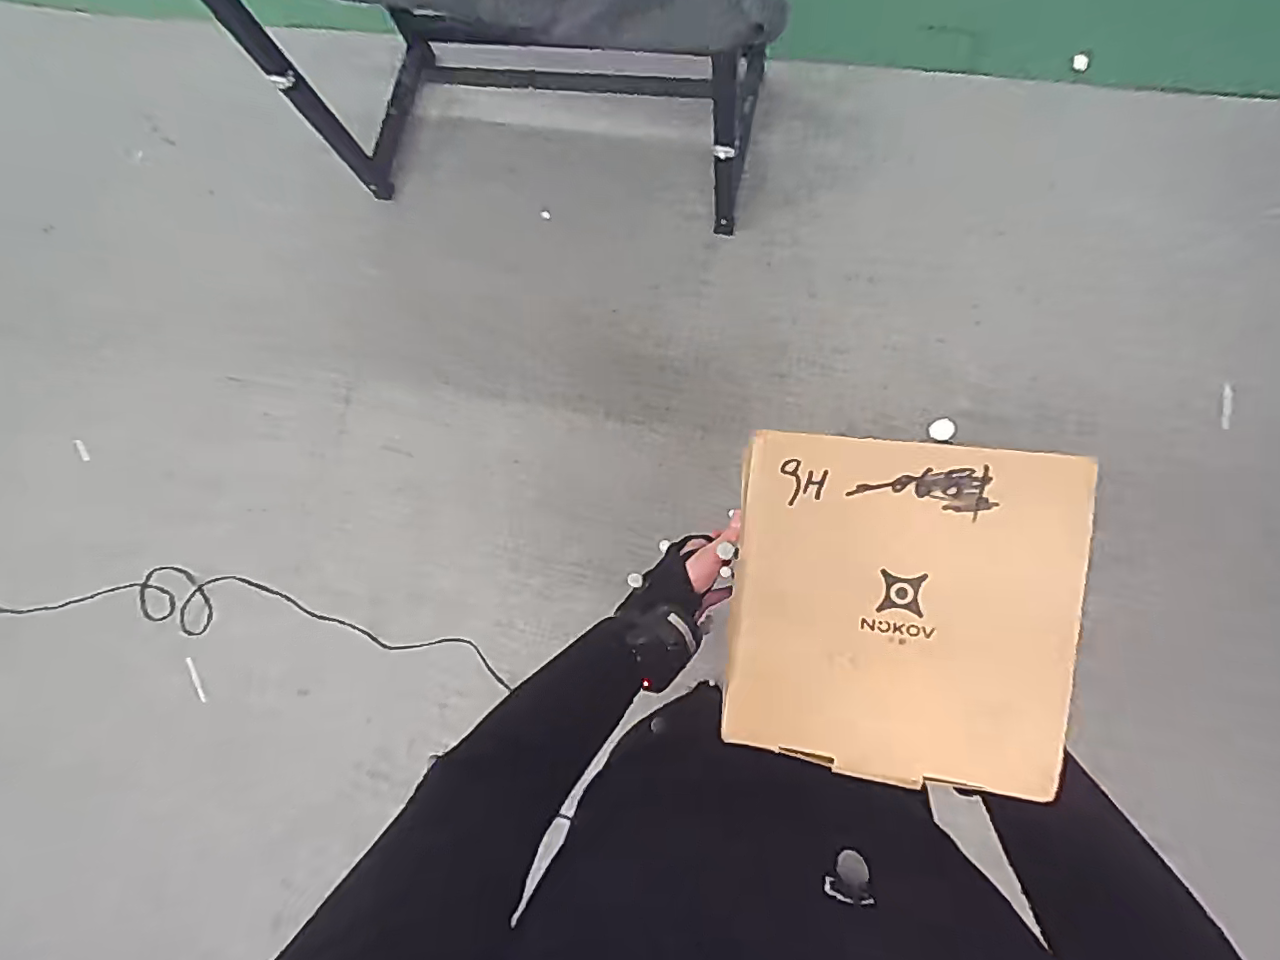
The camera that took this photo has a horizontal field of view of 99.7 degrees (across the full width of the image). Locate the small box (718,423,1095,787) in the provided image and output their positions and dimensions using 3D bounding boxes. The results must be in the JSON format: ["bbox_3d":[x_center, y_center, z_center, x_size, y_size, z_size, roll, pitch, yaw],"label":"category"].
[{"bbox_3d":[0.147,0.057,0.359,0.168,0.176,0.179,5,95,11],"label":"small box"}]
